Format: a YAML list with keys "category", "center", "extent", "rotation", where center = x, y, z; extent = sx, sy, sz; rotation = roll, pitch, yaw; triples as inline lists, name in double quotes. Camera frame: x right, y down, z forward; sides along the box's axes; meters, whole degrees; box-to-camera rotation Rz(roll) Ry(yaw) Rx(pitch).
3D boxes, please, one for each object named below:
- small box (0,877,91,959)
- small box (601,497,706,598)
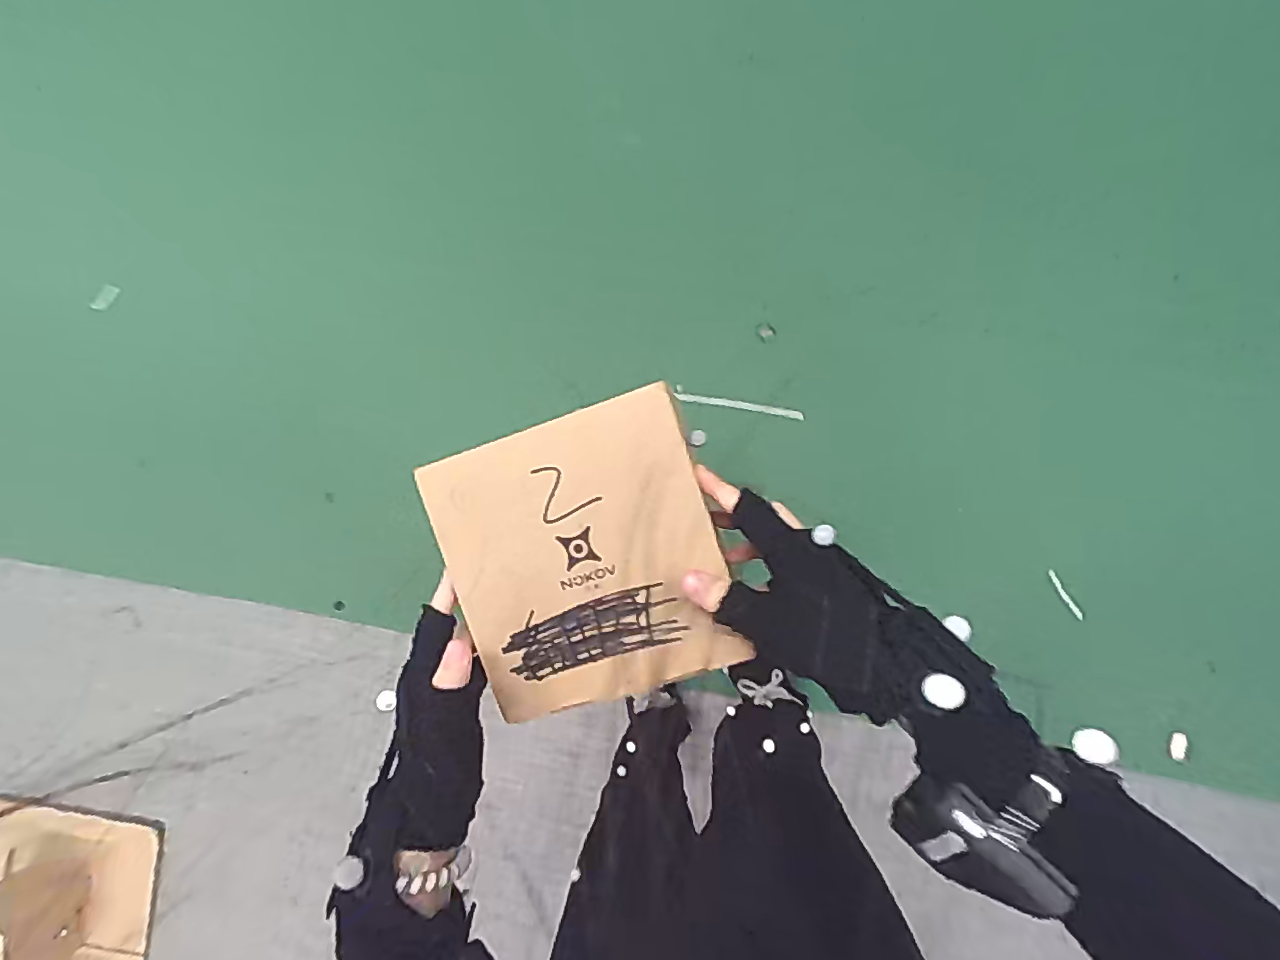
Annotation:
- category: "small box"
  center: [-1.396, 1.026, 1.199]
  extent: [0.179, 0.176, 0.168]
  rotation: [6, 88, 5]
- category: "small box"
  center: [0.033, 0.141, 1.160]
  extent: [0.179, 0.176, 0.168]
  rotation: [16, 87, 5]
